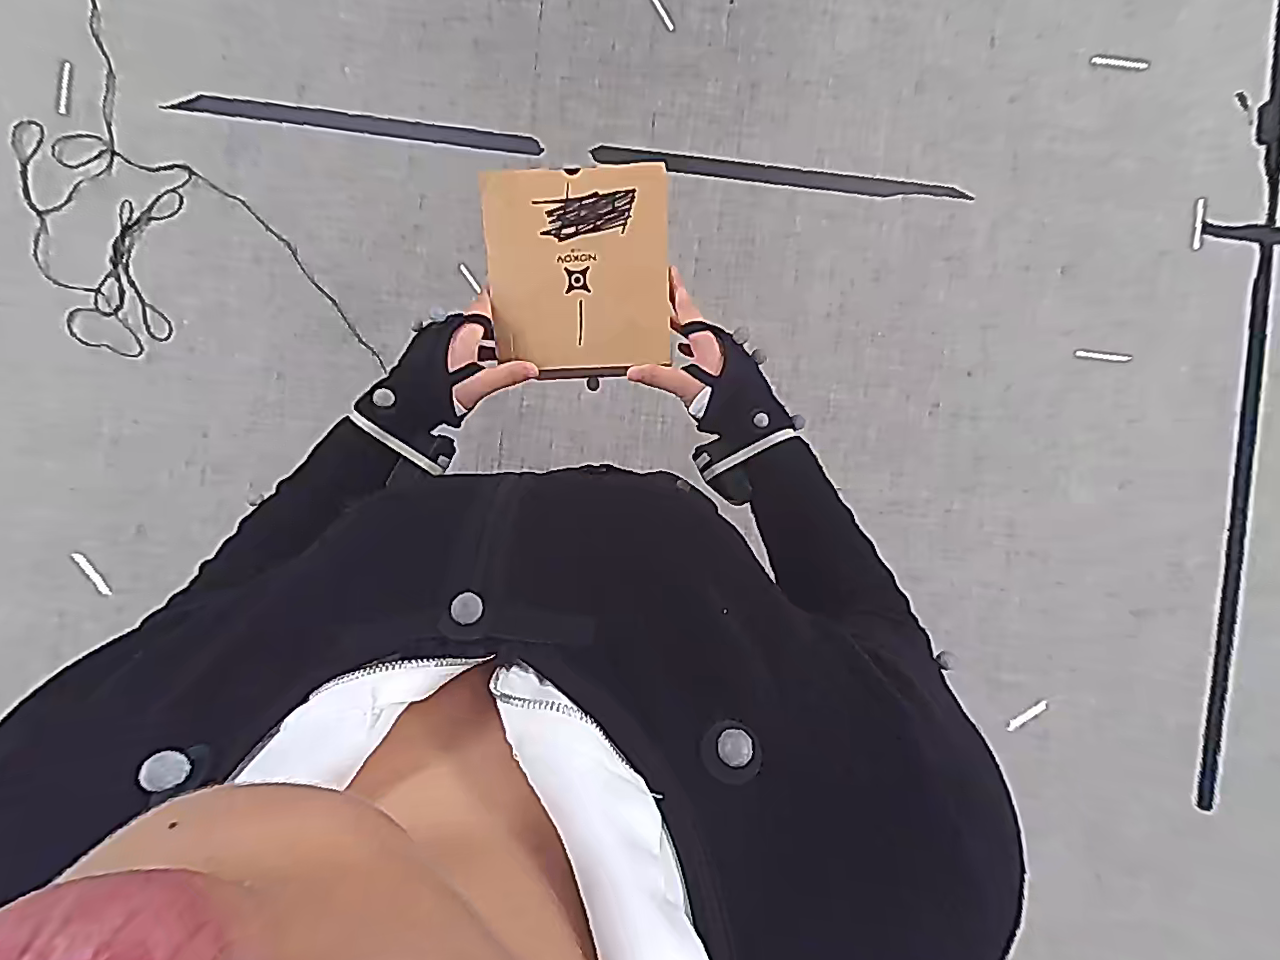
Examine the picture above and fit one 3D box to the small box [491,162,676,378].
[{"bbox_3d":[-0.049,-0.205,0.572,0.168,0.176,0.179,-2,98,3],"label":"small box"}]
